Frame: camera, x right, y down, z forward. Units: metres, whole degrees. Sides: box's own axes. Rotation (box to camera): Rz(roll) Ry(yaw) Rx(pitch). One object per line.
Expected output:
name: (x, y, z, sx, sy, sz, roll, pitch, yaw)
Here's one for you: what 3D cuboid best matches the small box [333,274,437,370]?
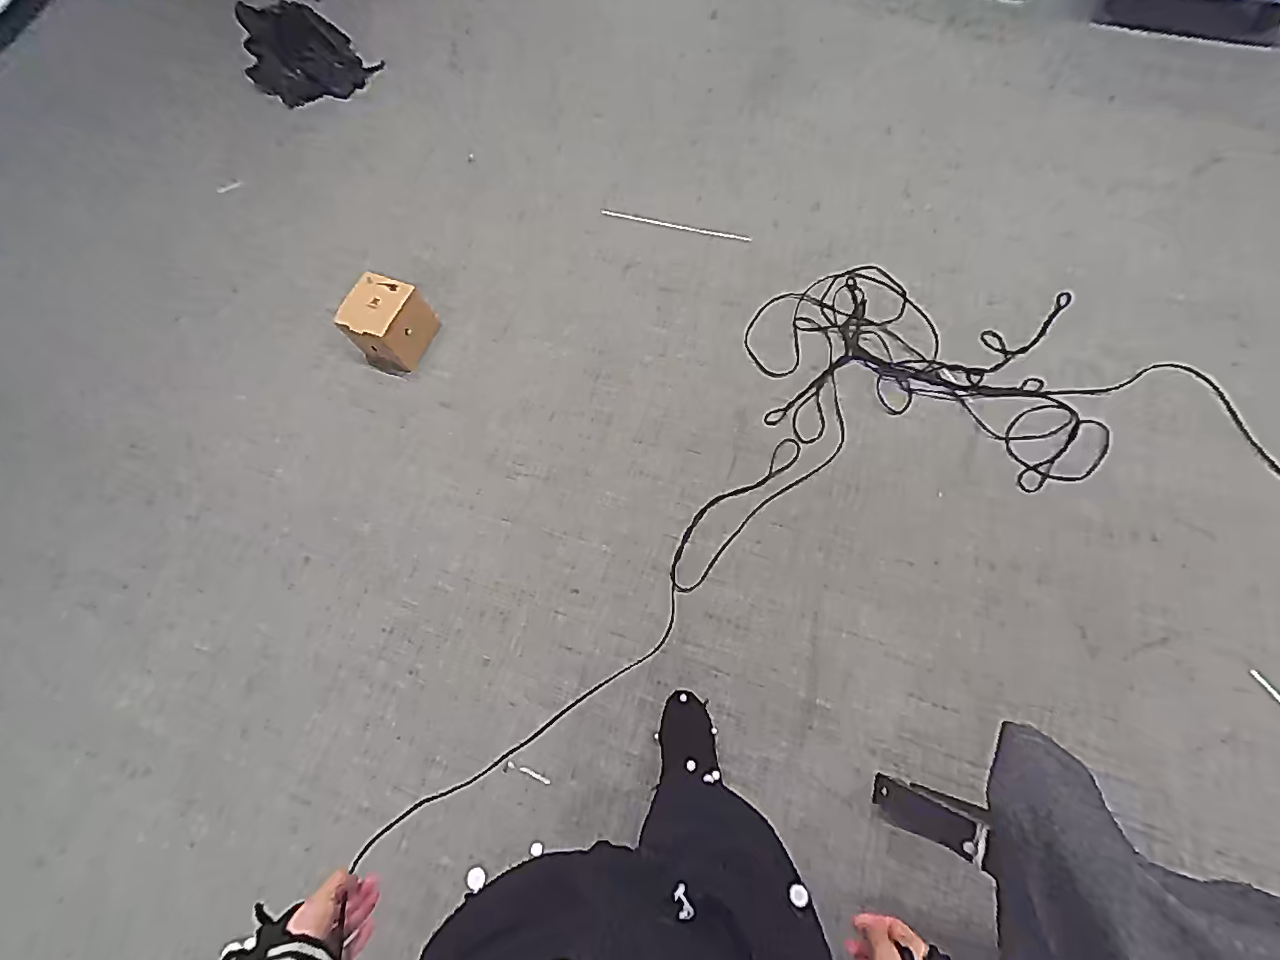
small box: (-0.704, -0.436, 1.518, 0.168, 0.176, 0.179, 20, 74, 12)
